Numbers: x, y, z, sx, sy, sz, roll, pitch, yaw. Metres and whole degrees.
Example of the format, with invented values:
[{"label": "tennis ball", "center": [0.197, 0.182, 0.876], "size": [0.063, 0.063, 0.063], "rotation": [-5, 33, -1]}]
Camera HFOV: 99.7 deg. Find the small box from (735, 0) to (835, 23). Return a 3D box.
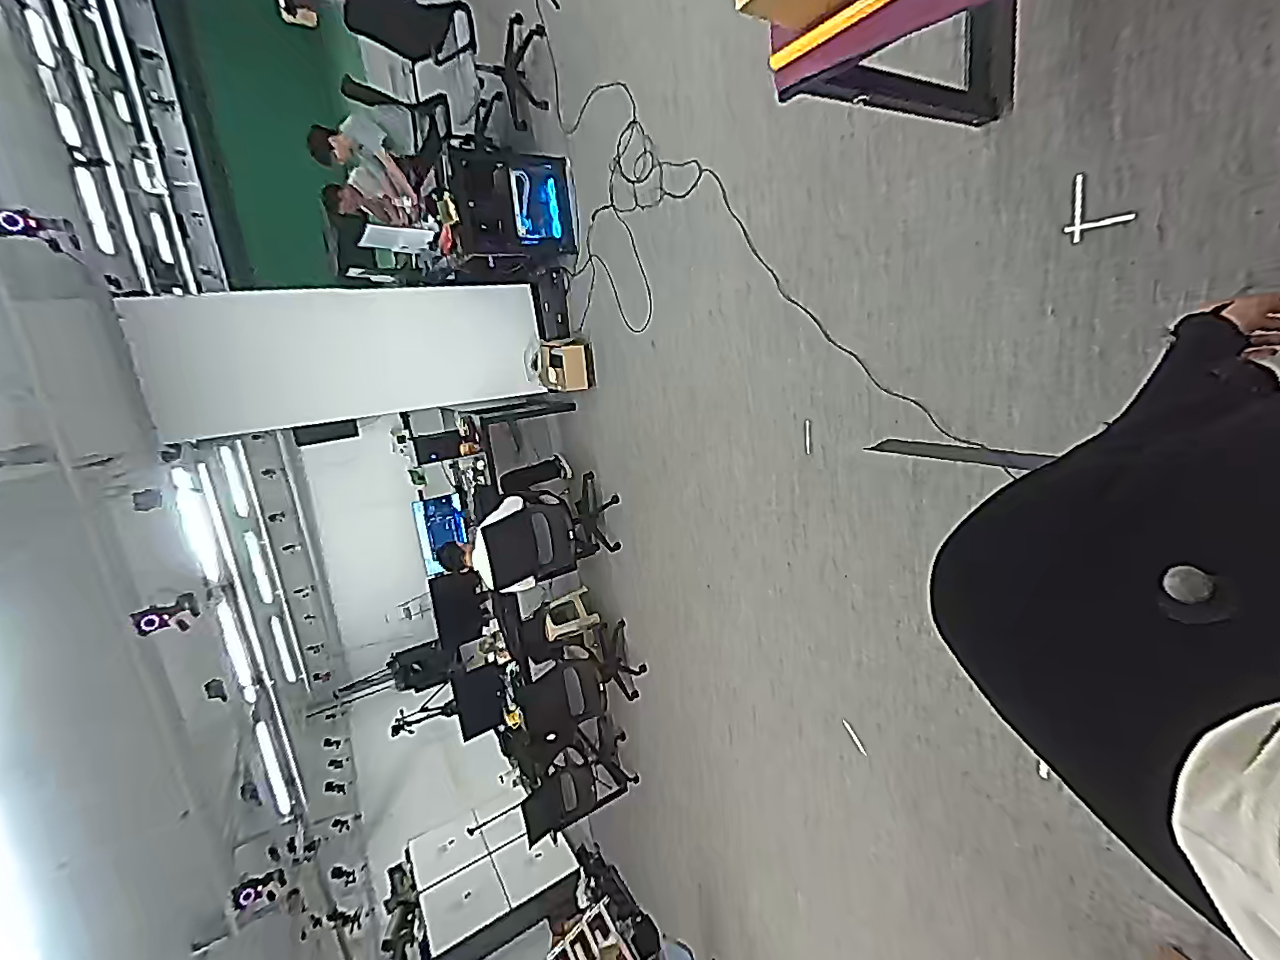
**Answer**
[{"label": "small box", "center": [0.274, -0.915, 0.901], "size": [0.179, 0.176, 0.168], "rotation": [15, 115, 55]}]
